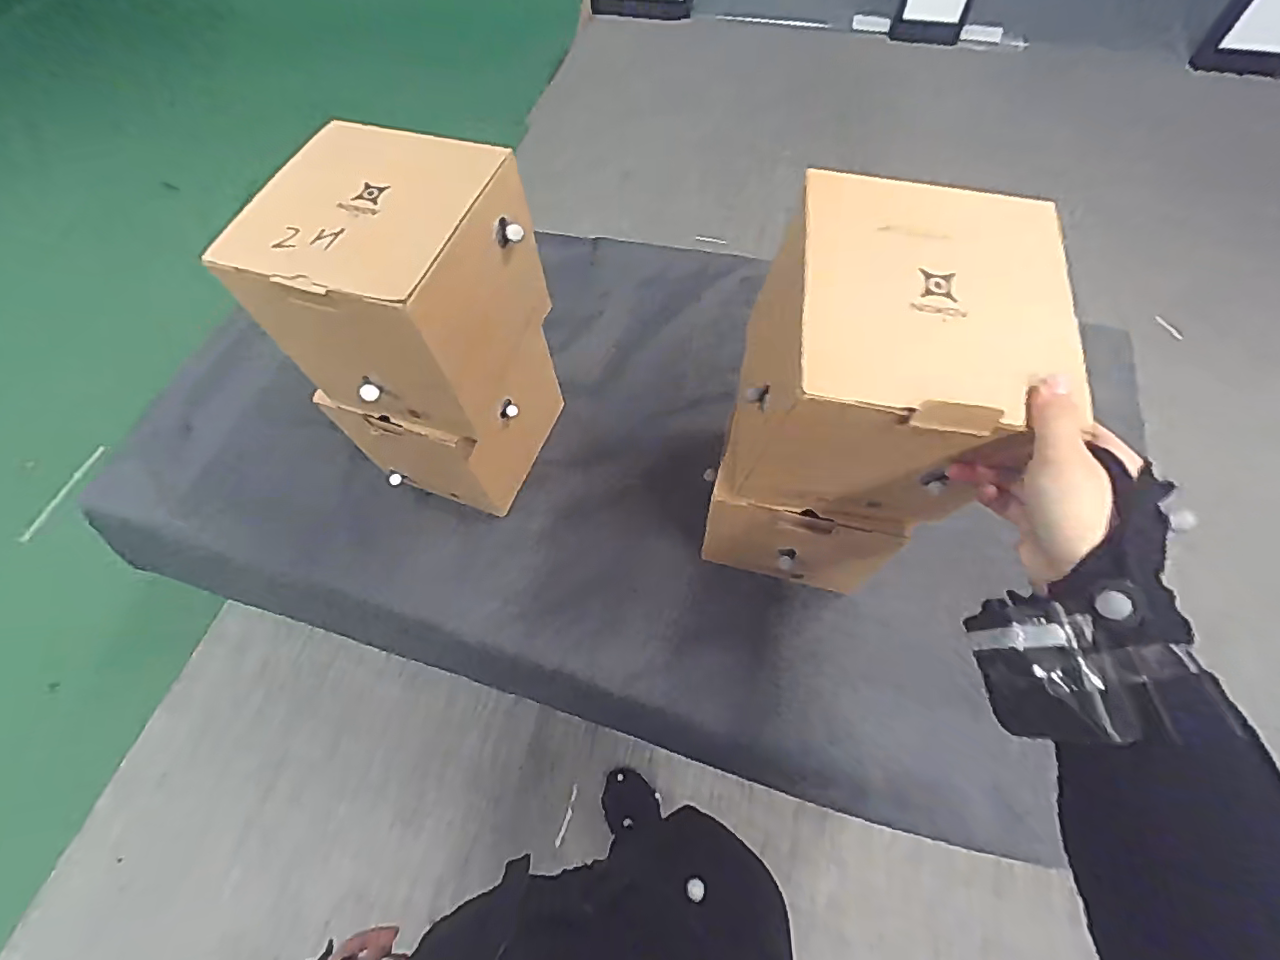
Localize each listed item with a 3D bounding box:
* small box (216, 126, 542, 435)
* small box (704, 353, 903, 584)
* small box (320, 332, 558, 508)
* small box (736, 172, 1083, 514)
[{"bbox_3d":[-0.199,-0.169,0.479,0.168,0.176,0.179,15,64,11],"label":"small box"},{"bbox_3d":[0.164,-0.007,0.562,0.168,0.176,0.179,13,65,9],"label":"small box"},{"bbox_3d":[-0.209,-0.091,0.624,0.168,0.176,0.179,18,64,11],"label":"small box"},{"bbox_3d":[0.172,-0.085,0.404,0.168,0.176,0.179,8,68,-1],"label":"small box"}]
